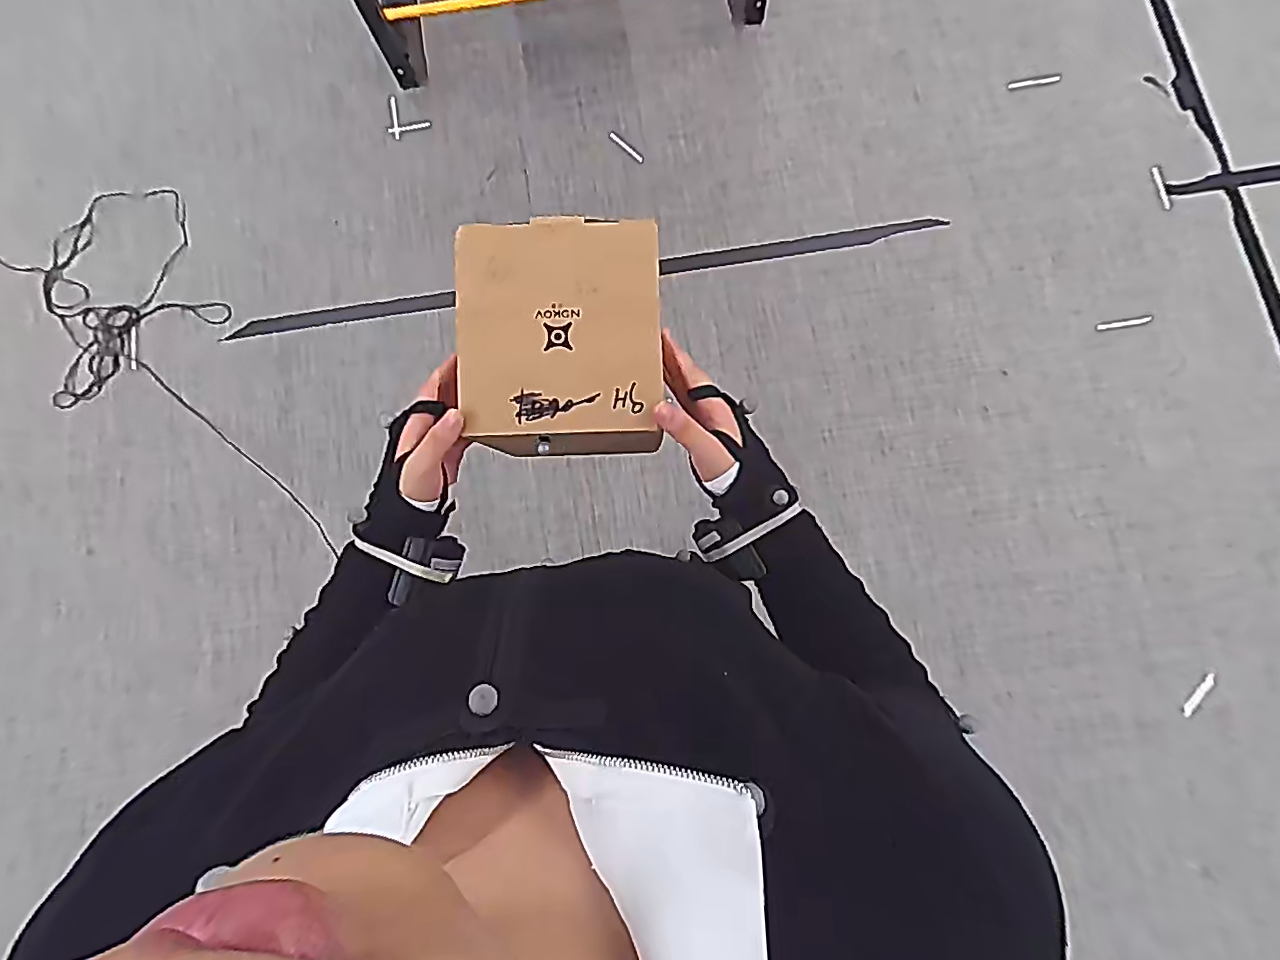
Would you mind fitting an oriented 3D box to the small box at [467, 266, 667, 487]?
[{"bbox_3d":[-0.062,-0.086,0.527,0.168,0.176,0.179,-1,86,0],"label":"small box"}]
